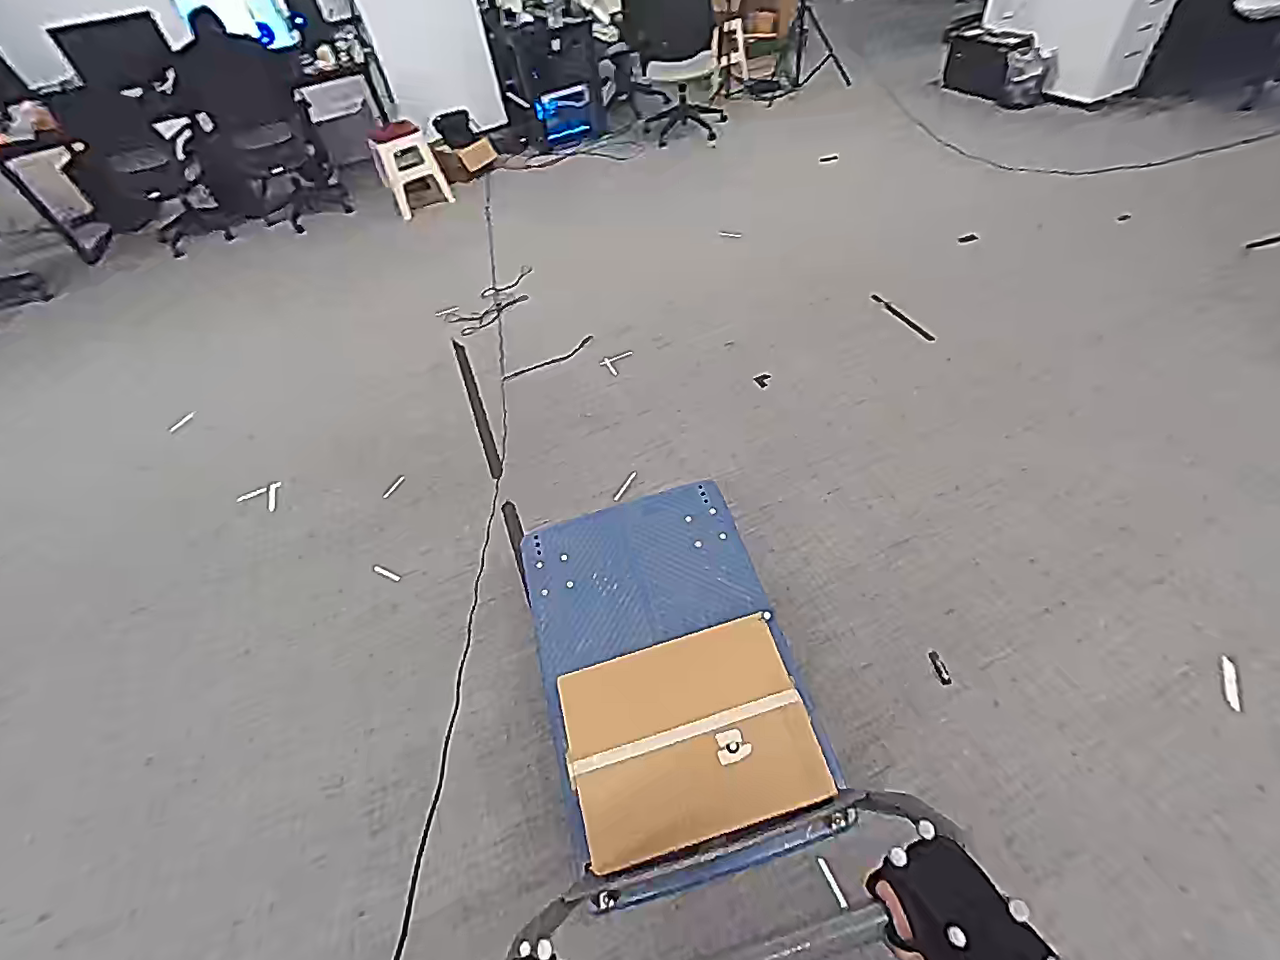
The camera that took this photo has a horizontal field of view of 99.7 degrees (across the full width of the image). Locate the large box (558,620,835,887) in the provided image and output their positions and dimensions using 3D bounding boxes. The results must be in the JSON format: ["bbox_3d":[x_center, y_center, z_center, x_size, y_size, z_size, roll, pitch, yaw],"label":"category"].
[{"bbox_3d":[0.094,0.522,1.040,0.408,0.320,0.320,-17,58,-4],"label":"large box"}]
